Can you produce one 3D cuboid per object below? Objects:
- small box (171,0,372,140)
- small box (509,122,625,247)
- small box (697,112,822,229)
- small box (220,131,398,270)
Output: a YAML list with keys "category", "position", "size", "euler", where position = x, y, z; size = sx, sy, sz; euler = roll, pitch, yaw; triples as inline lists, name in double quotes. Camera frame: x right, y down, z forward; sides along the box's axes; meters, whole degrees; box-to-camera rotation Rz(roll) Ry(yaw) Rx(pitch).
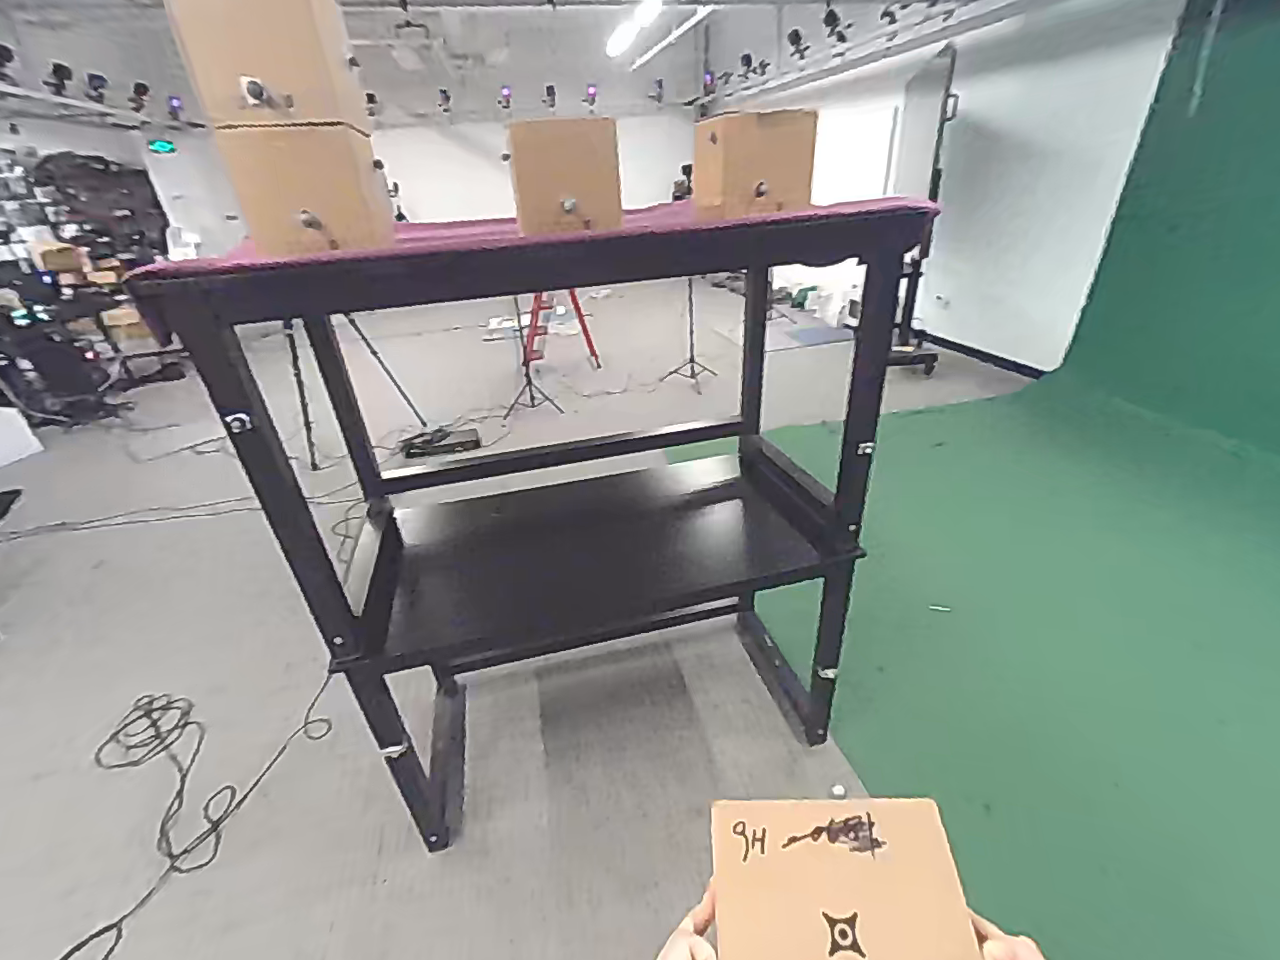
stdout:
- category: "small box"
  position: [-0.489, -0.563, 0.744]
  size: [0.168, 0.176, 0.179]
  euler: [-10, 30, -8]
- category: "small box"
  position: [-0.124, -0.492, 0.906]
  size: [0.168, 0.176, 0.179]
  euler: [-10, 31, -10]
- category: "small box"
  position: [0.203, -0.552, 0.972]
  size: [0.168, 0.176, 0.179]
  euler: [-9, 32, -9]
- category: "small box"
  position: [-0.482, -0.421, 0.823]
  size: [0.168, 0.176, 0.179]
  euler: [-10, 29, -11]
